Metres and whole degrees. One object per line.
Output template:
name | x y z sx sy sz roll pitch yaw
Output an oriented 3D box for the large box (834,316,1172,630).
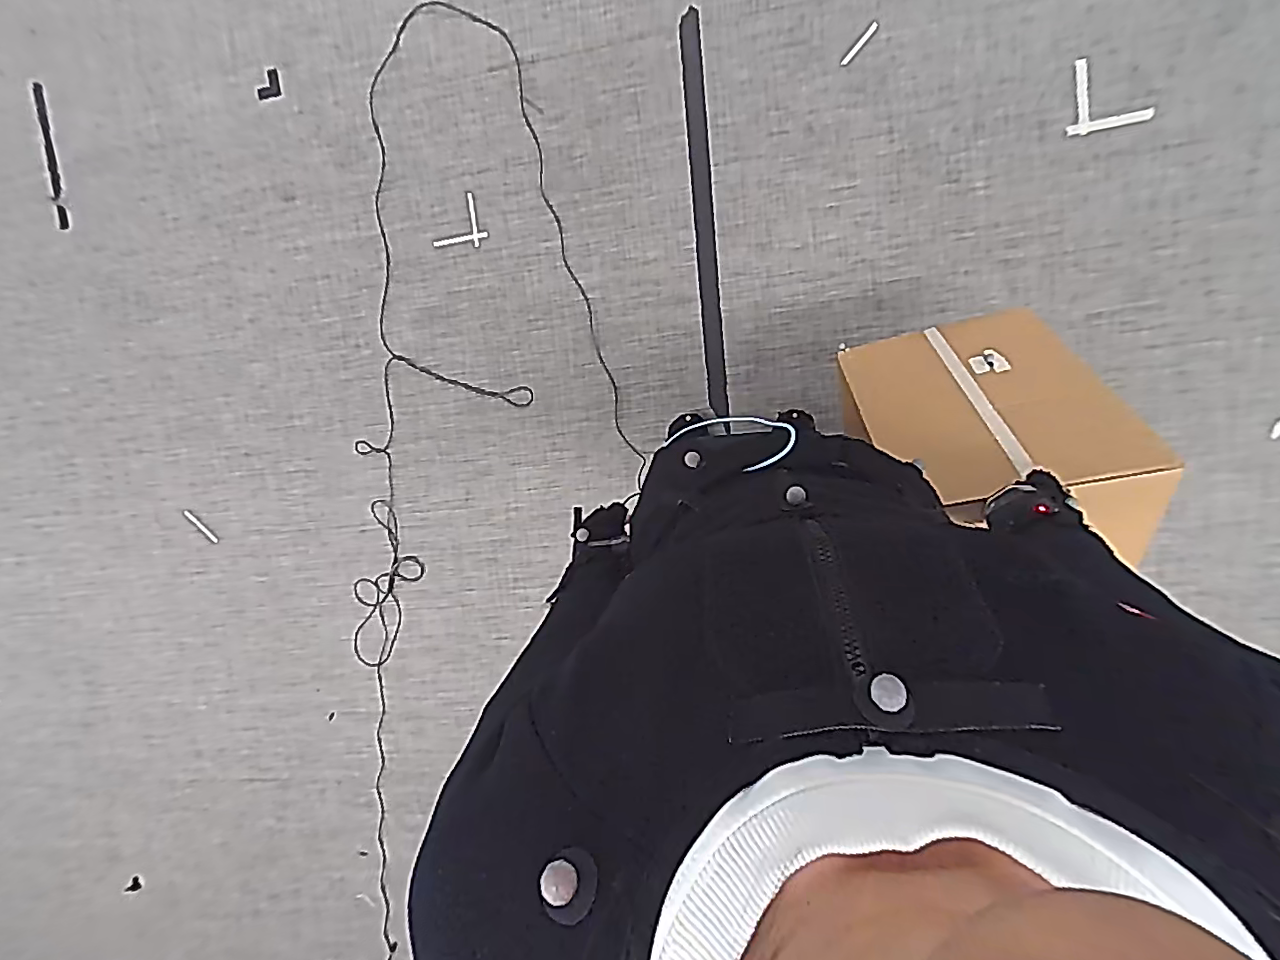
large box | 0.546 -0.015 0.919 0.320 0.408 0.320 -11 131 12
